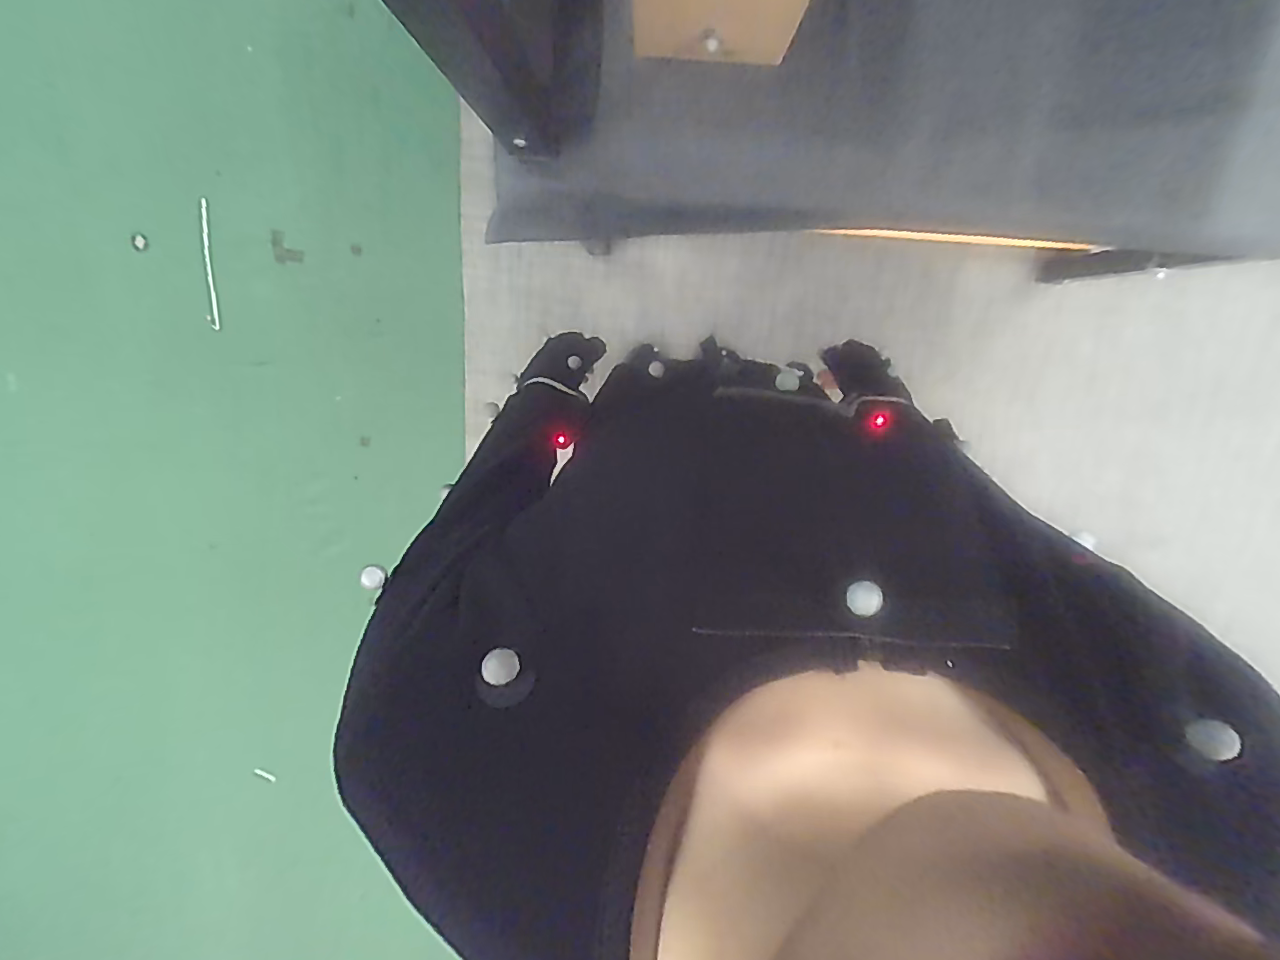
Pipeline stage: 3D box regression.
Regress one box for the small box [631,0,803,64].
[{"bbox_3d":[0.076,-0.537,0.507,0.168,0.176,0.179,4,105,1],"label":"small box"}]
